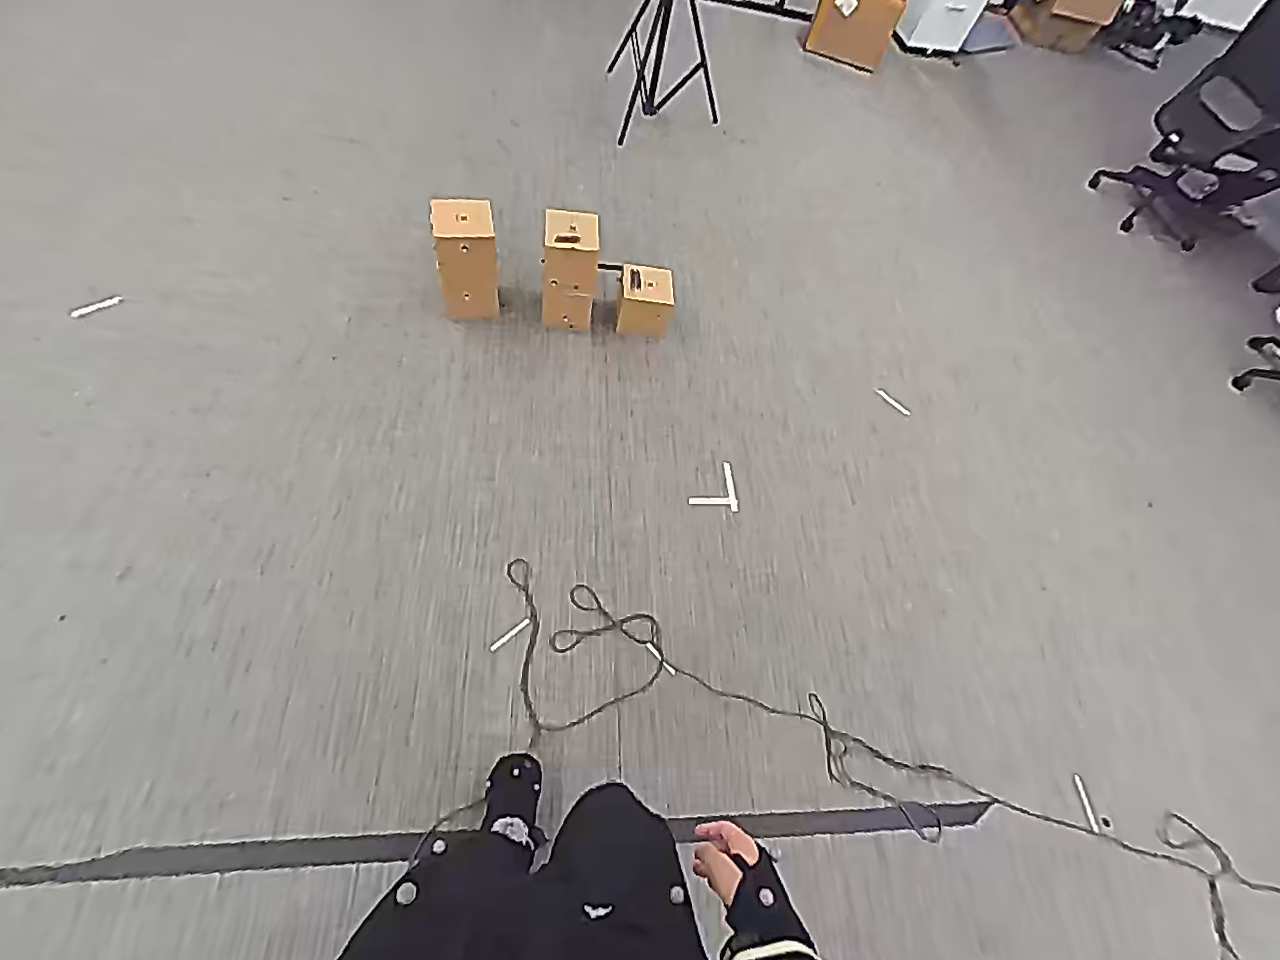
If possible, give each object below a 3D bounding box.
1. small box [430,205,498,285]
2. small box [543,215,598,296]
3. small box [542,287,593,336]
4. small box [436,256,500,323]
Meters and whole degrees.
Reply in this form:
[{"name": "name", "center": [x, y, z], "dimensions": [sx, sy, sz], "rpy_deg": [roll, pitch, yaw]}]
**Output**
[{"name": "small box", "center": [-0.541, -0.723, 1.673], "dimensions": [0.179, 0.176, 0.168], "rpy_deg": [-7, 65, -16]}, {"name": "small box", "center": [-0.223, -0.713, 1.731], "dimensions": [0.168, 0.176, 0.179], "rpy_deg": [2, 61, -11]}, {"name": "small box", "center": [-0.249, -0.627, 1.870], "dimensions": [0.168, 0.176, 0.179], "rpy_deg": [4, 62, -9]}, {"name": "small box", "center": [-0.574, -0.646, 1.814], "dimensions": [0.179, 0.176, 0.168], "rpy_deg": [-9, 65, -15]}]
